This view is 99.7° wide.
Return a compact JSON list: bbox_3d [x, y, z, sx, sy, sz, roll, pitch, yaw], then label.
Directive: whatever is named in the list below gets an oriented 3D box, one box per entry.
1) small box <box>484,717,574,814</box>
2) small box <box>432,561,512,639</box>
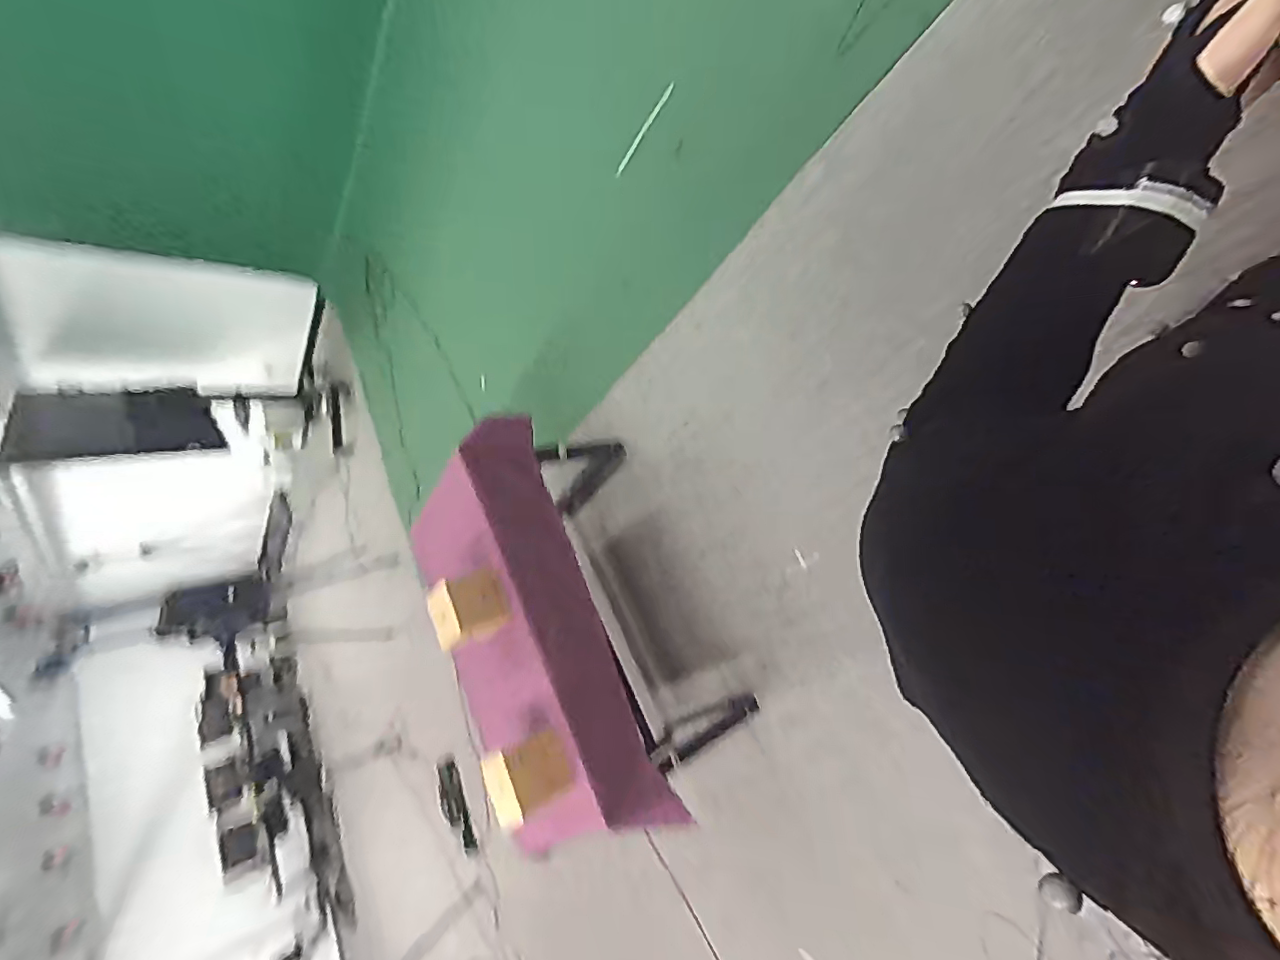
[{"bbox_3d":[-0.310,0.798,1.516,0.168,0.176,0.179,-46,62,41],"label":"small box"},{"bbox_3d":[-0.516,0.366,1.671,0.179,0.176,0.168,-42,66,42],"label":"small box"}]
